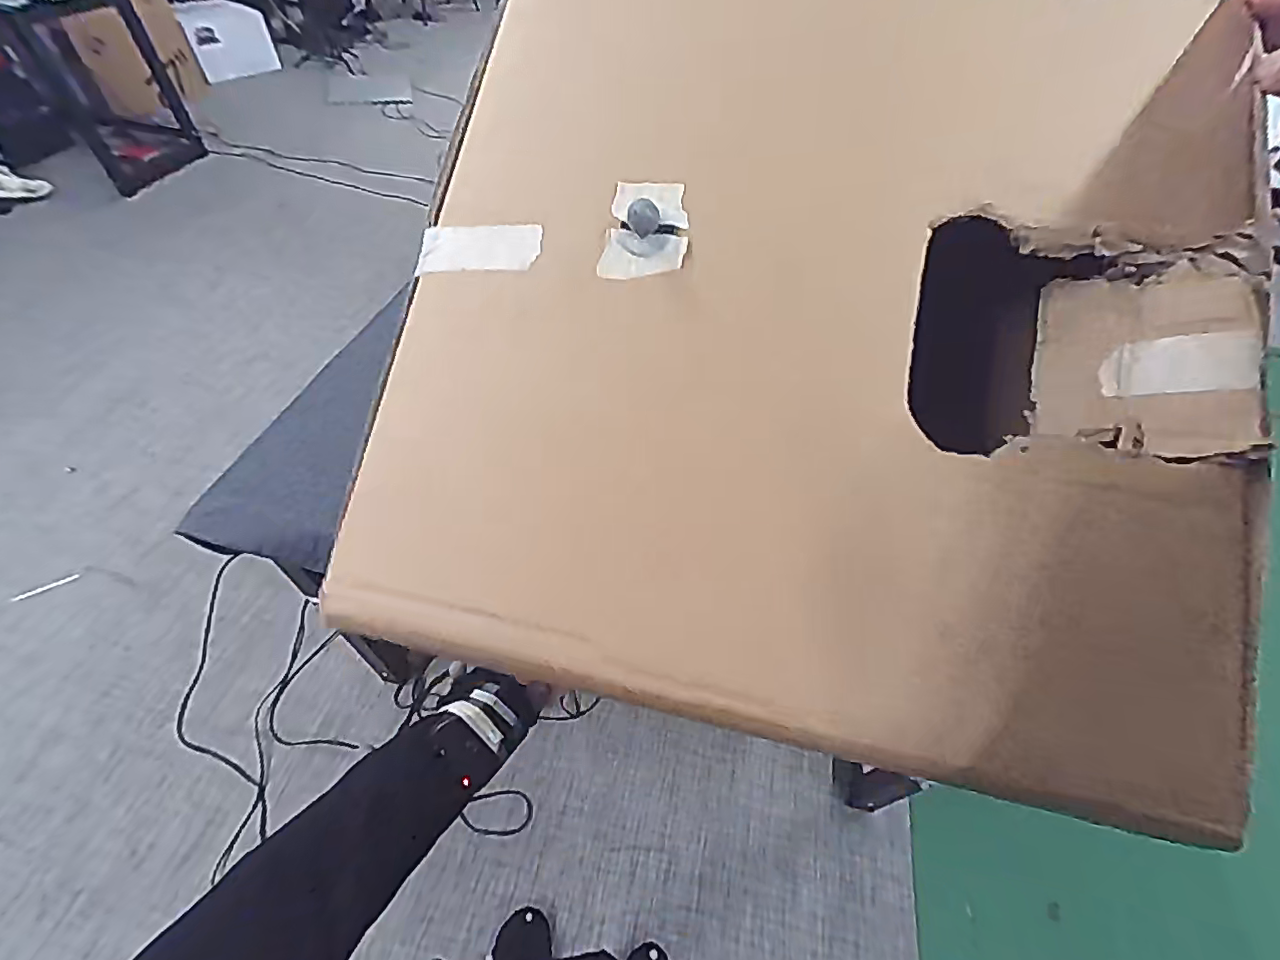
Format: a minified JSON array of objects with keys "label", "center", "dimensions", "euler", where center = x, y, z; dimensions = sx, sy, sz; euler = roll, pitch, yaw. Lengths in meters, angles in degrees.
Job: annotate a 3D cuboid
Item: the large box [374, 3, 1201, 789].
[{"label":"large box","center":[0.076,-0.031,0.412],"dimensions":[0.320,0.408,0.320],"euler":[10,80,6]}]
